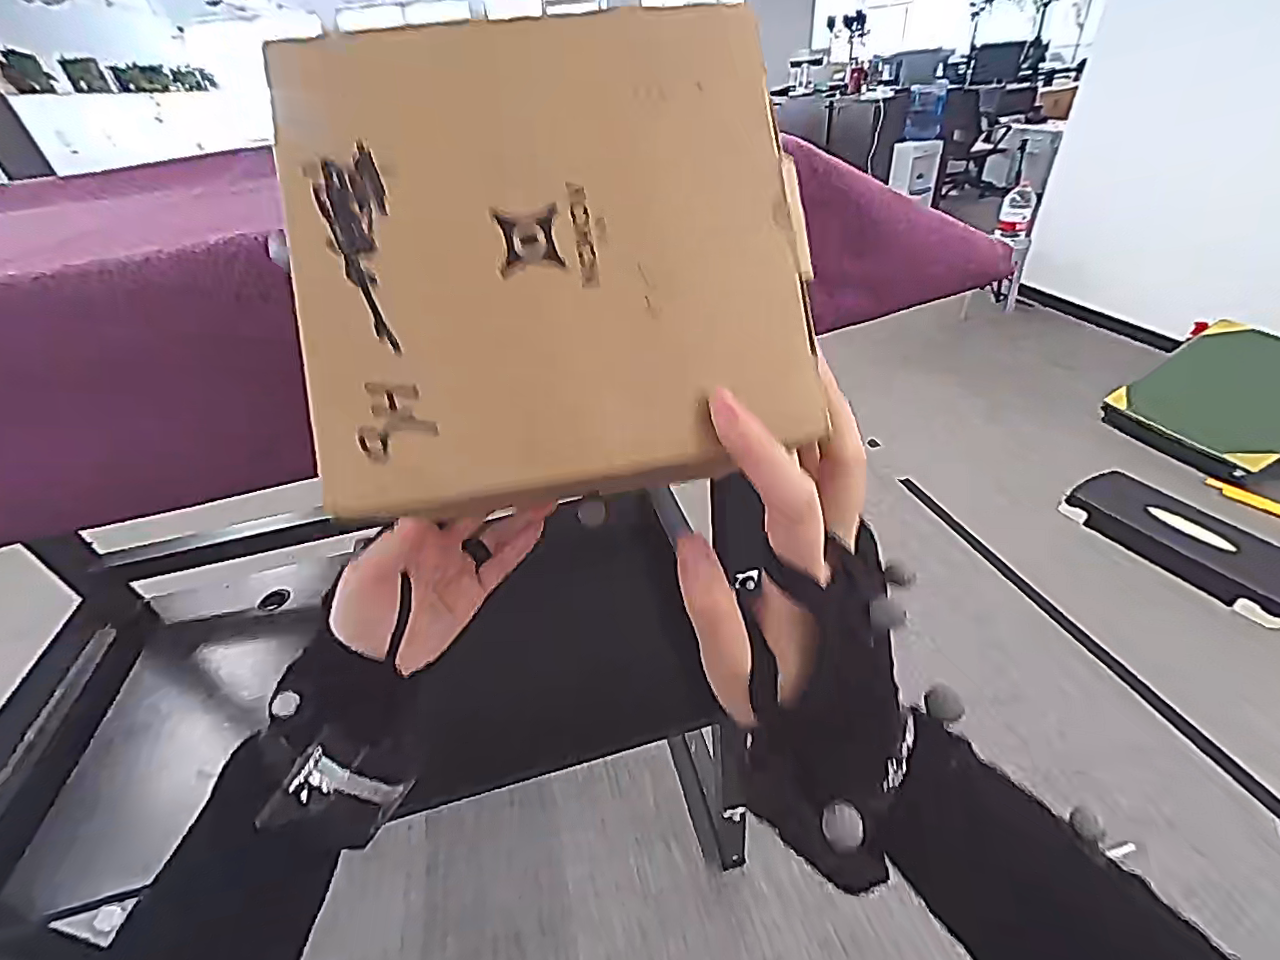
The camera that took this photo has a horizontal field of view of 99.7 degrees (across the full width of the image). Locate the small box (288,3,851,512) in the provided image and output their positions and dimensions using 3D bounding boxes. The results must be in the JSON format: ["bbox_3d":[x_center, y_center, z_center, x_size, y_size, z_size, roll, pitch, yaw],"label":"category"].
[{"bbox_3d":[-0.030,-0.077,0.264,0.179,0.168,0.176,-9,-4,-7],"label":"small box"}]
